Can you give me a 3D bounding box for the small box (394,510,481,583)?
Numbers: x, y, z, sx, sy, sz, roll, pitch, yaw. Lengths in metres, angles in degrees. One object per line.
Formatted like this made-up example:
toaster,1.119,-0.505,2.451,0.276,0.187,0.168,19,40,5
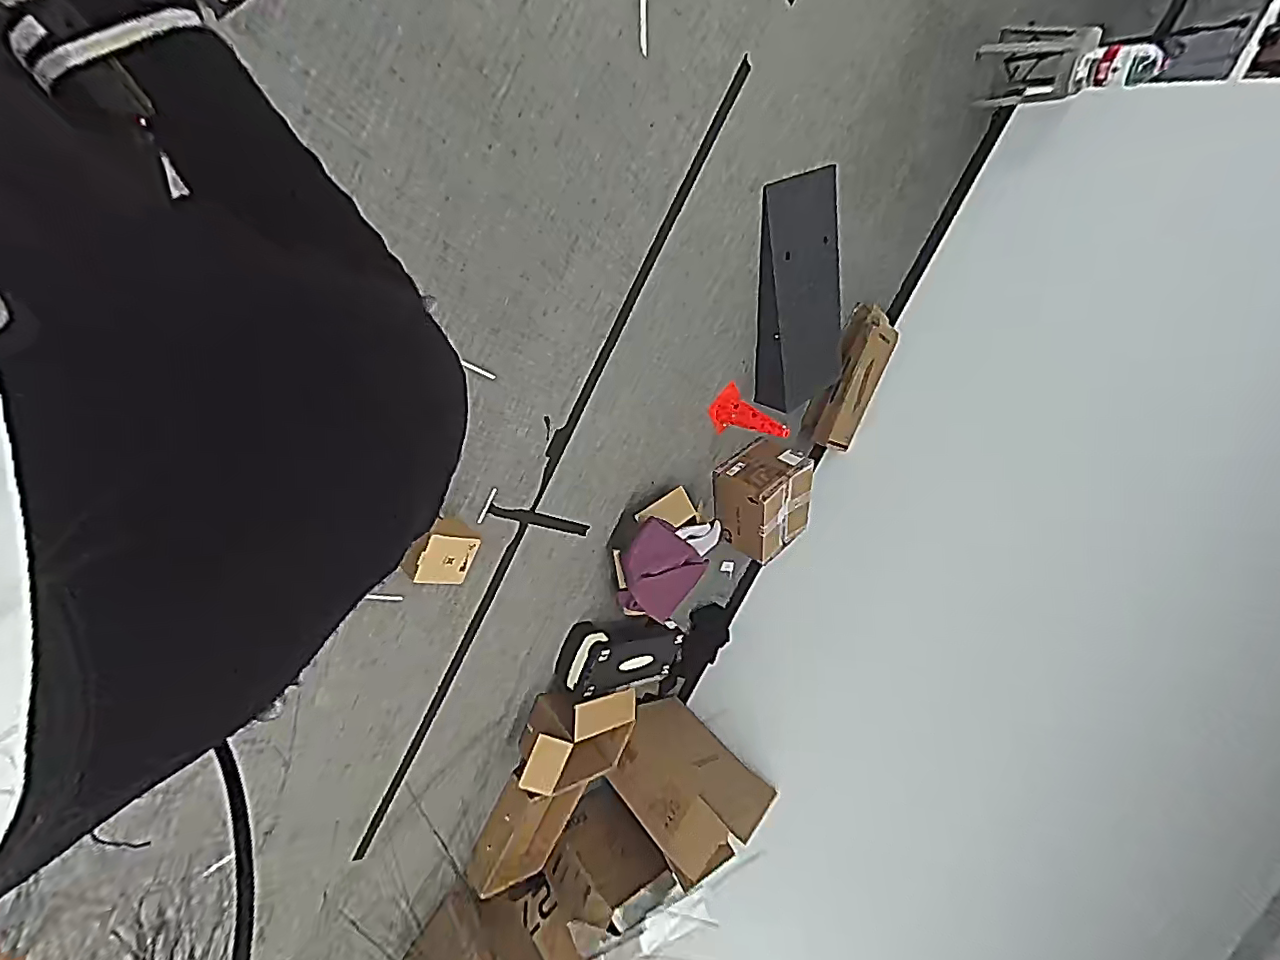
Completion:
small box,-0.642,0.207,1.702,0.179,0.176,0.168,17,102,-50
